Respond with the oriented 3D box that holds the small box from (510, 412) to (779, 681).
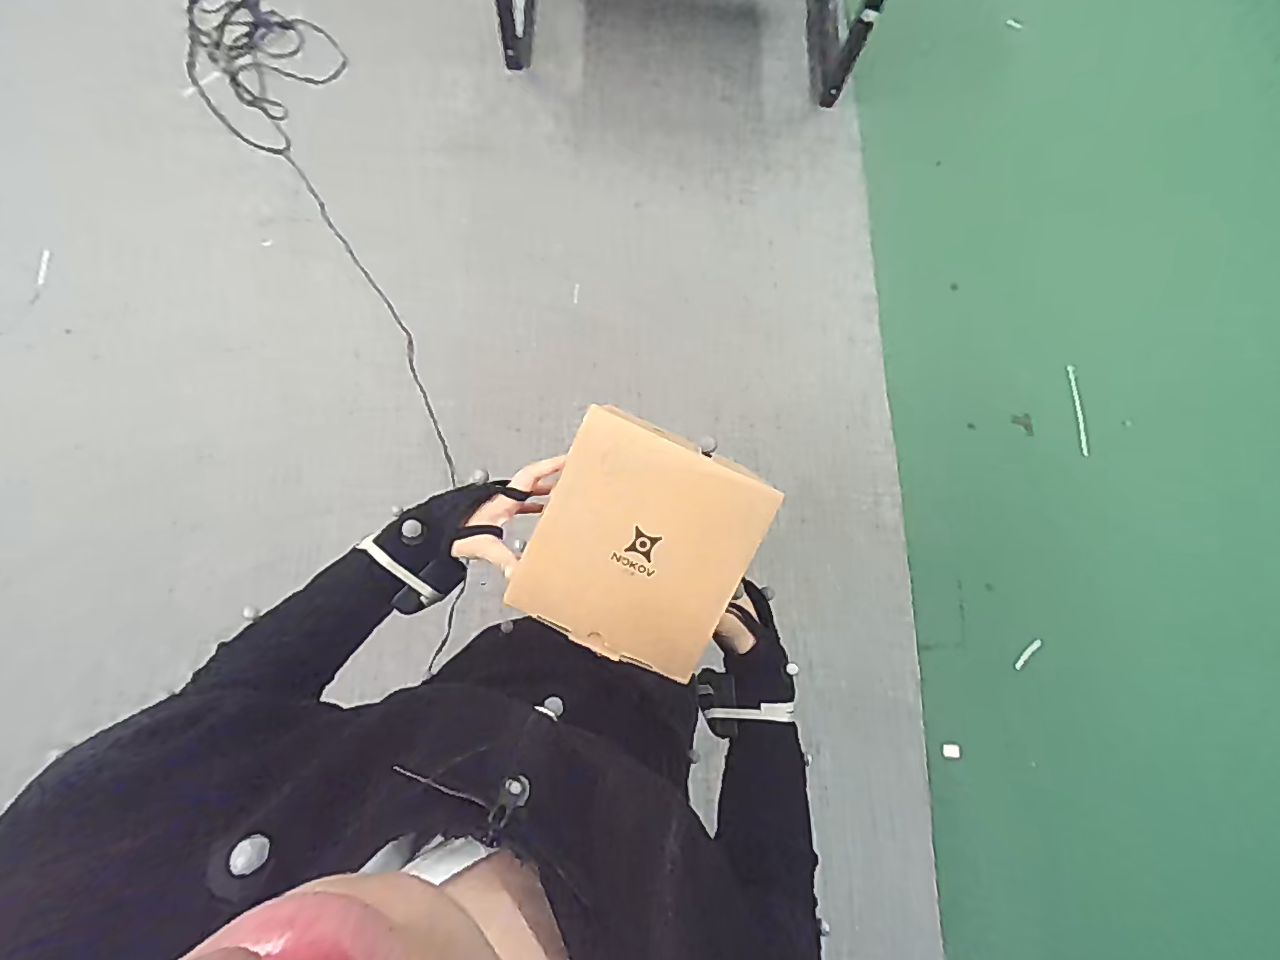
[{"bbox_3d":[0.001,0.045,0.510,0.168,0.176,0.179,25,99,-4],"label":"small box"}]
